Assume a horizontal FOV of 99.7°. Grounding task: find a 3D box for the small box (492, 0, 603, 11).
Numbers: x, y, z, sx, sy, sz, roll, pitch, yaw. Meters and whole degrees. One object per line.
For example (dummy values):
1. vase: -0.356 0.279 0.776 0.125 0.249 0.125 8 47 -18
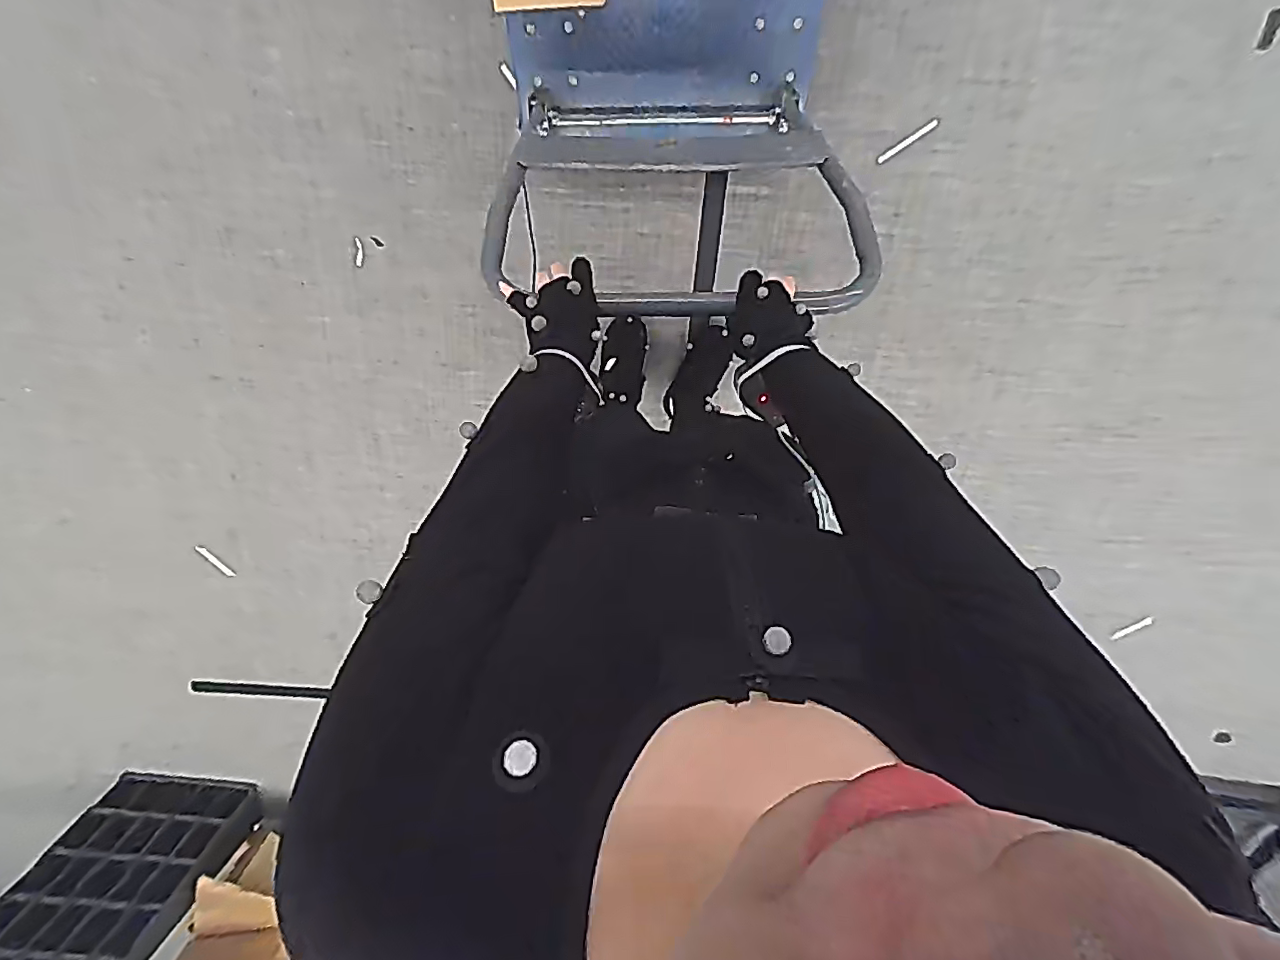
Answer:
1. small box: -0.148 -0.853 0.850 0.179 0.176 0.168 -3 134 2
